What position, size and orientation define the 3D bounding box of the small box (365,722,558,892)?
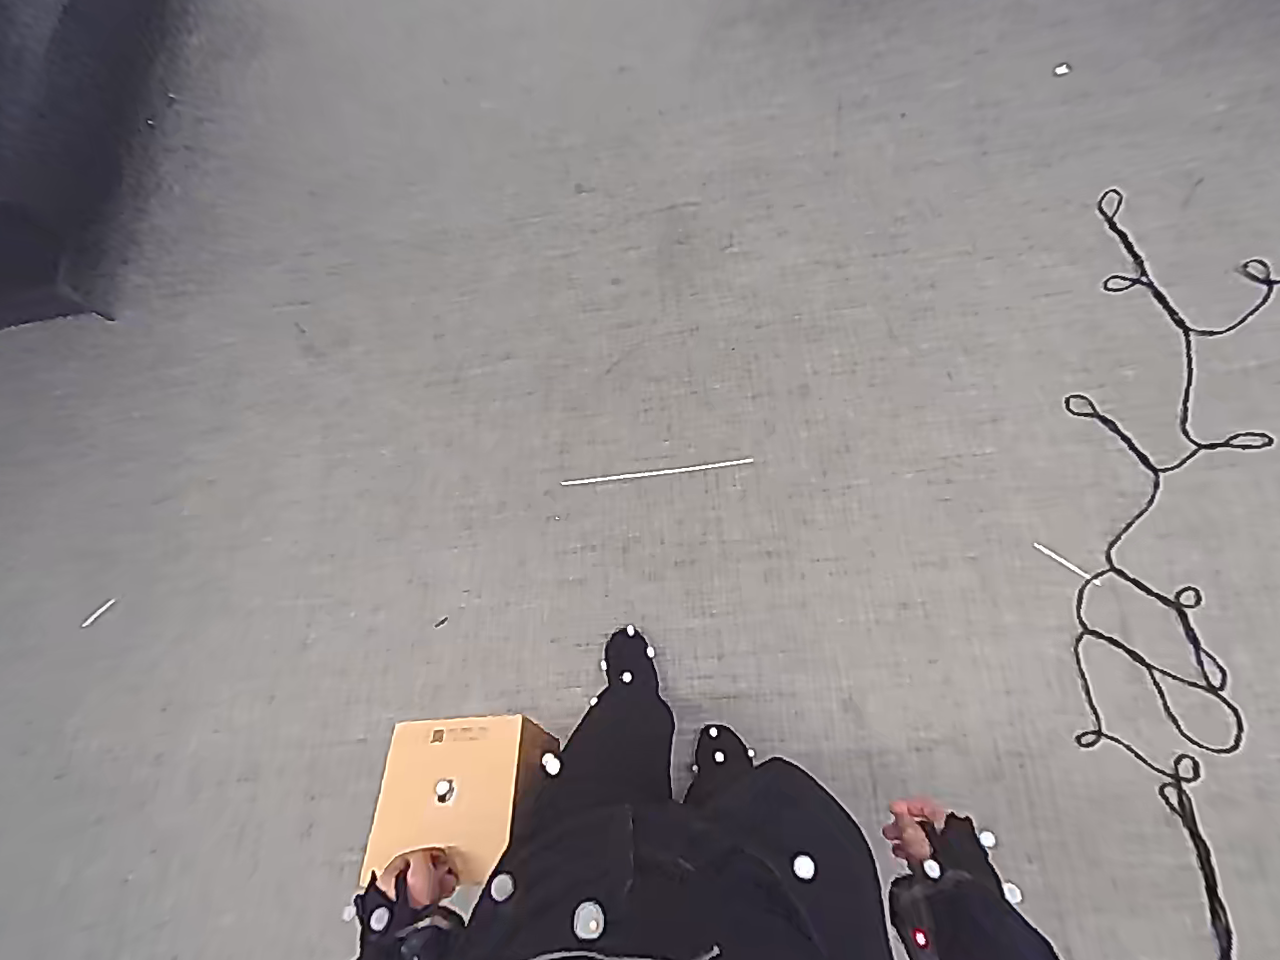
[{"bbox_3d":[-0.207,0.411,0.683,0.168,0.179,0.176,-5,53,6],"label":"small box"}]
